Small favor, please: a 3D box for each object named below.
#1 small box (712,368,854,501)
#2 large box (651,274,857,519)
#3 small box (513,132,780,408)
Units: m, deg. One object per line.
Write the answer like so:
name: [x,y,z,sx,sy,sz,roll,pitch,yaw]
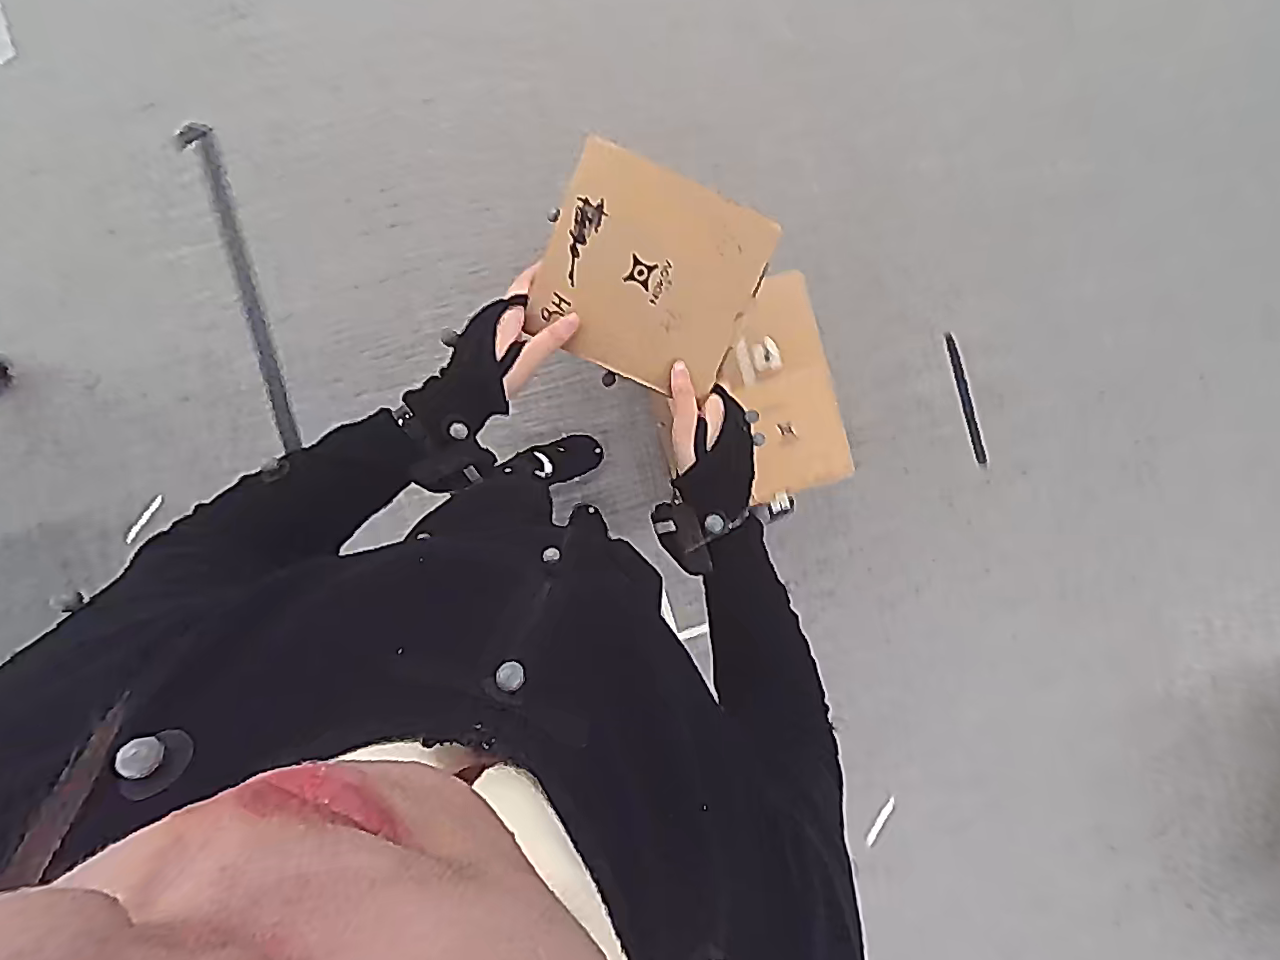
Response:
small box: [0.232,-0.074,0.919,0.168,0.176,0.179,-17,92,-2]
large box: [0.205,-0.158,1.161,0.320,0.320,0.408,-16,91,-3]
small box: [0.001,-0.182,0.519,0.179,0.176,0.168,22,99,-7]
